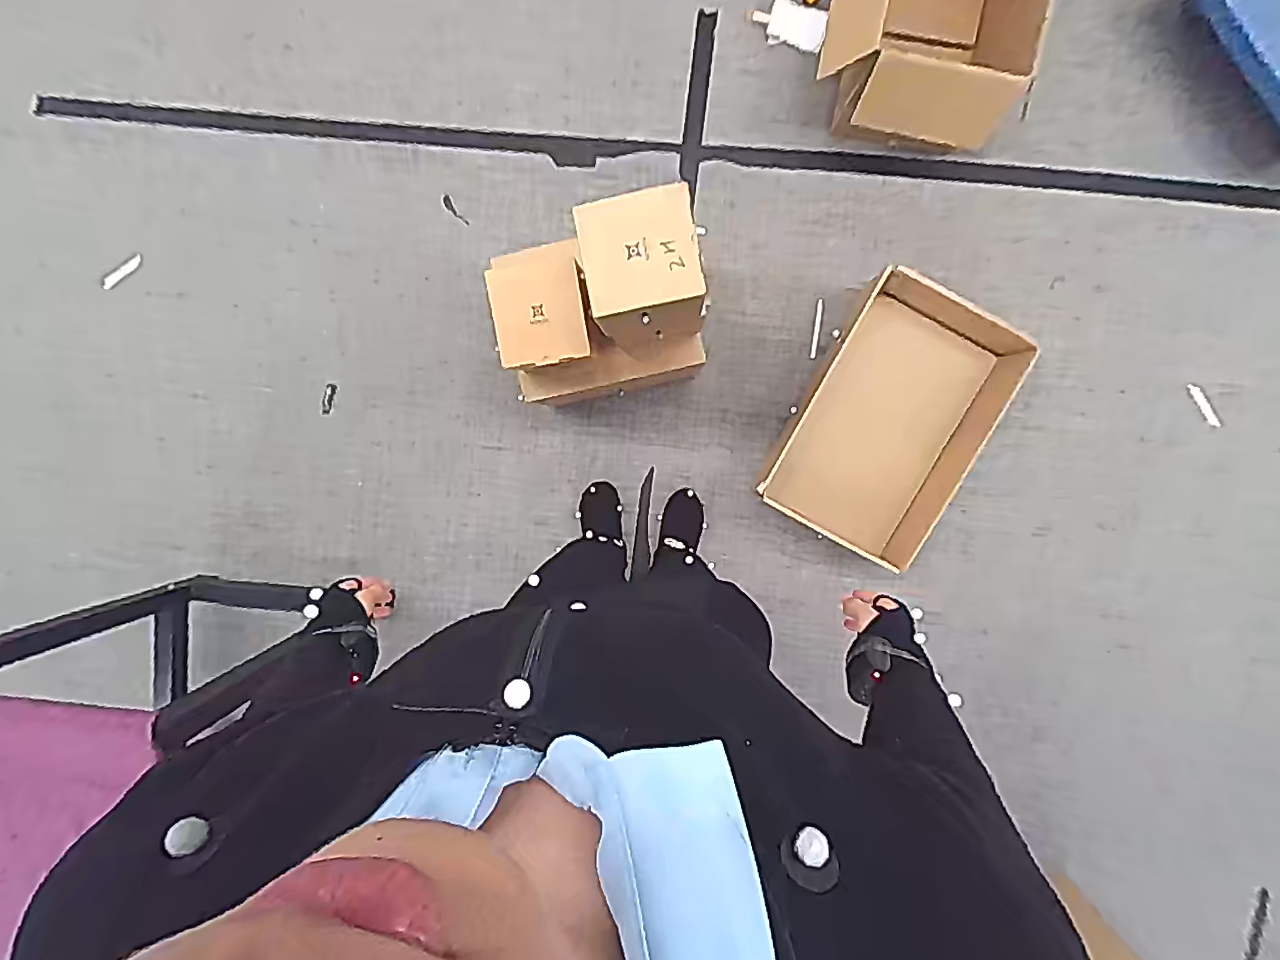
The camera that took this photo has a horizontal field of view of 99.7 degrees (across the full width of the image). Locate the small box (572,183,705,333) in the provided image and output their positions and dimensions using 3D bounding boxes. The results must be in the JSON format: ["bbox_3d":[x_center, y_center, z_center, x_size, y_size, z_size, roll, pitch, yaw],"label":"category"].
[{"bbox_3d":[0.003,-0.344,0.874,0.179,0.176,0.168,-10,95,4],"label":"small box"}]
